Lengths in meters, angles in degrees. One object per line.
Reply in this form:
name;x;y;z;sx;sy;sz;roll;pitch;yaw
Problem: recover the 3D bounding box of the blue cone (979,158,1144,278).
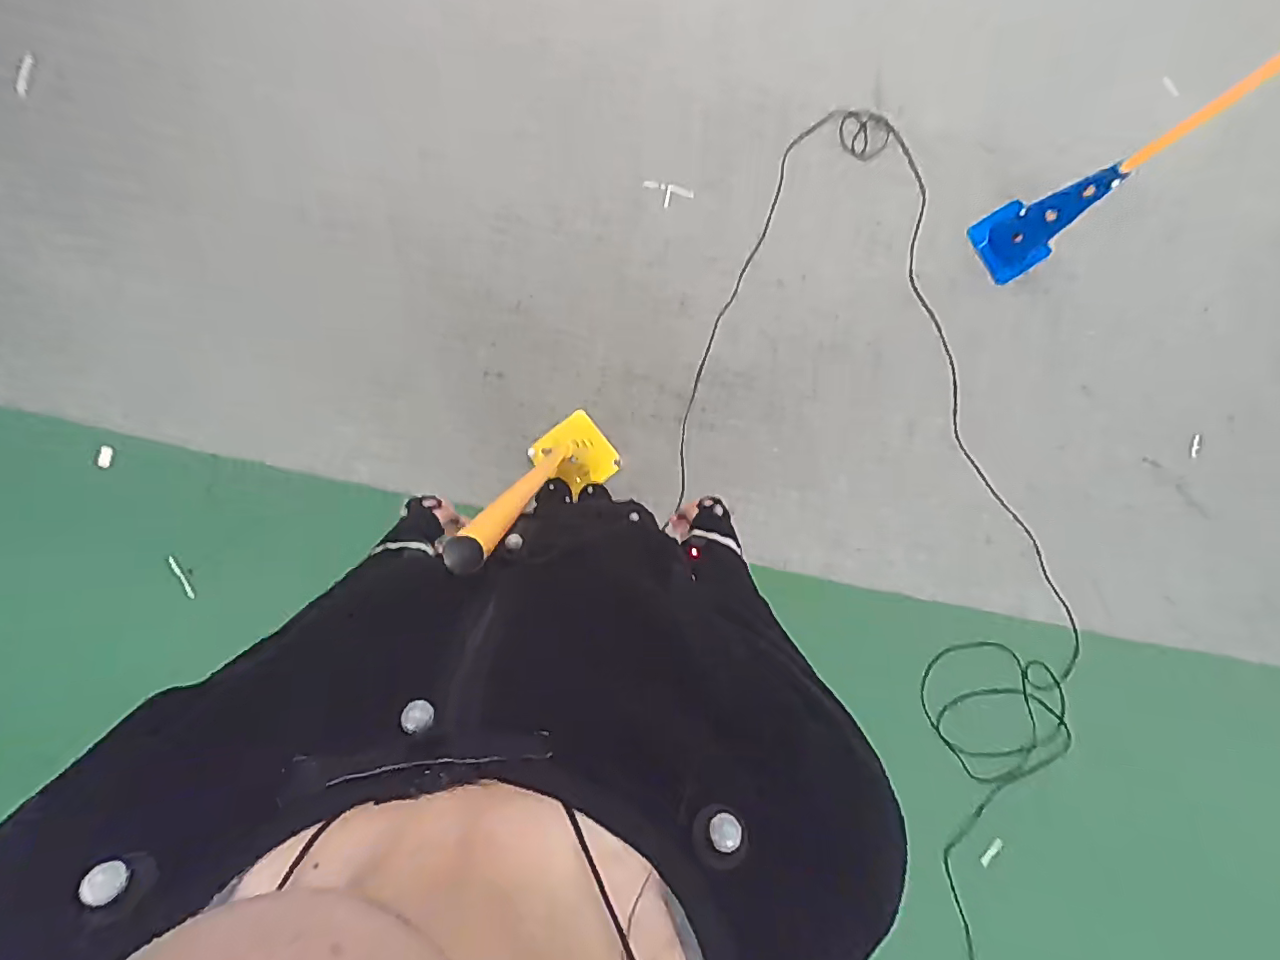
blue cone;1.107;-0.713;1.409;0.193;0.380;0.192;-34;91;-6
